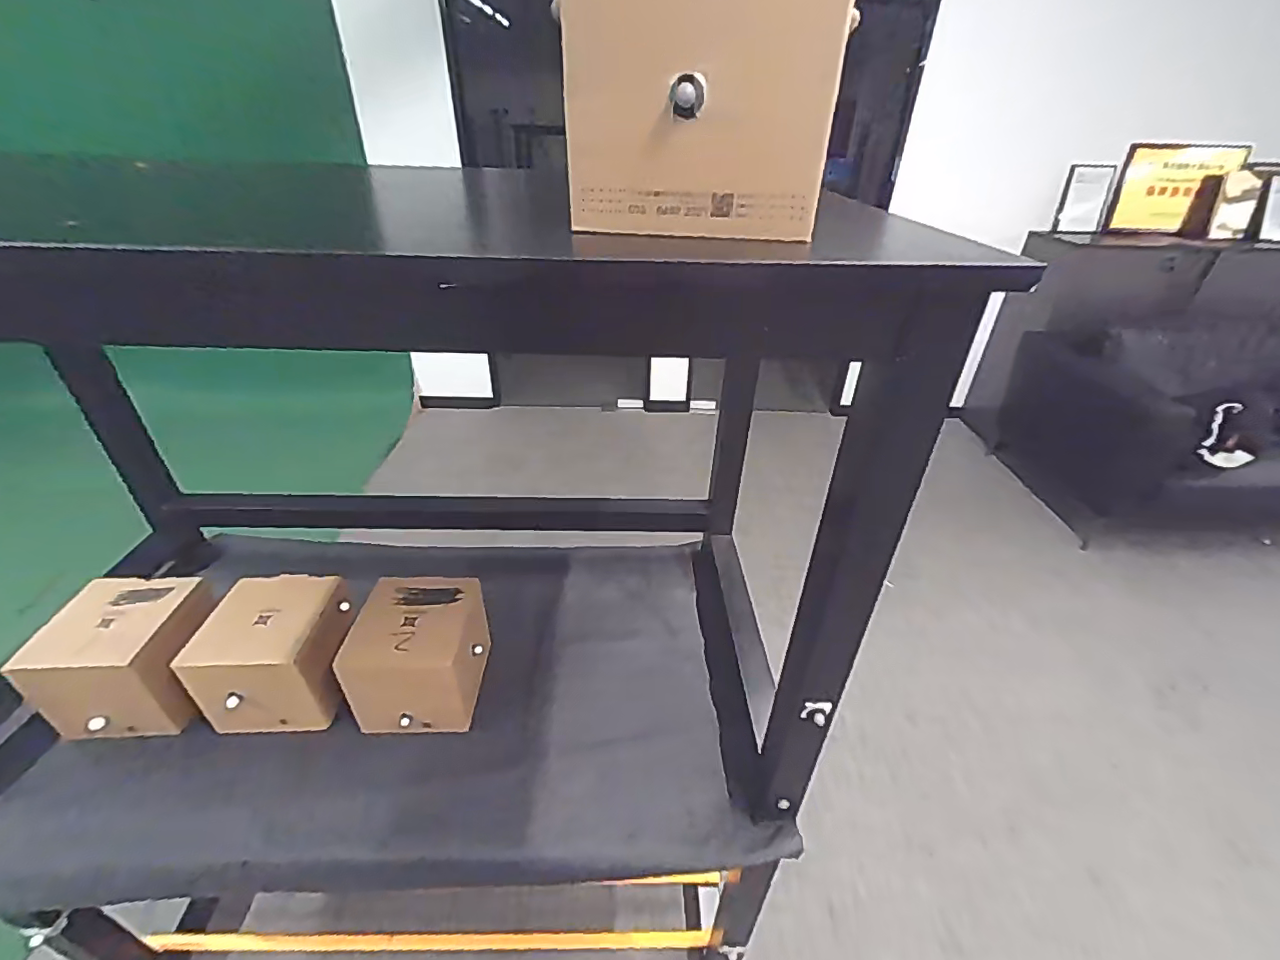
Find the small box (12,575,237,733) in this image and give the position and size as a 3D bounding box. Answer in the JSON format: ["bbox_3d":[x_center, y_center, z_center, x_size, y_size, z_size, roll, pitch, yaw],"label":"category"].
[{"bbox_3d":[-0.783,0.270,0.853,0.168,0.176,0.179,-1,34,-3],"label":"small box"}]

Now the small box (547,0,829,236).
[{"bbox_3d":[0.039,-0.283,0.395,0.168,0.176,0.179,6,34,7],"label":"small box"}]
